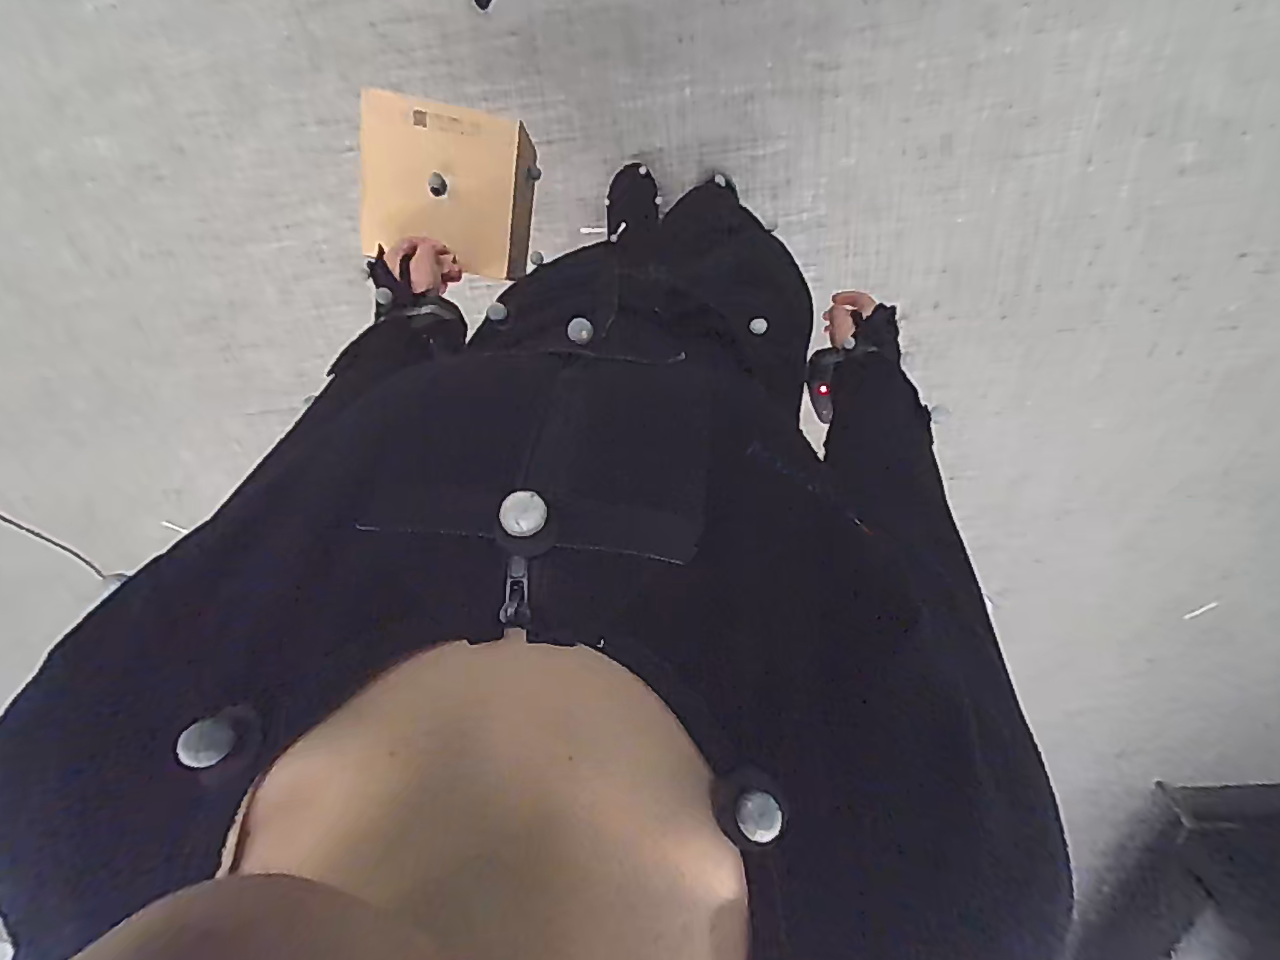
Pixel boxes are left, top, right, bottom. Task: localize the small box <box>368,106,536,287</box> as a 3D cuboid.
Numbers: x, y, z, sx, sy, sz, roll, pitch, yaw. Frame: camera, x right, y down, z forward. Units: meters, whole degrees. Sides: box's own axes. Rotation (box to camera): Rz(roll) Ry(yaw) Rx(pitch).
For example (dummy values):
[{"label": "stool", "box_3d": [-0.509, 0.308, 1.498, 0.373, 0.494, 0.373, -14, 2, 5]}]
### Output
[{"label": "small box", "box_3d": [-0.227, -0.343, 0.681, 0.168, 0.179, 0.176, 7, 110, -6]}]
